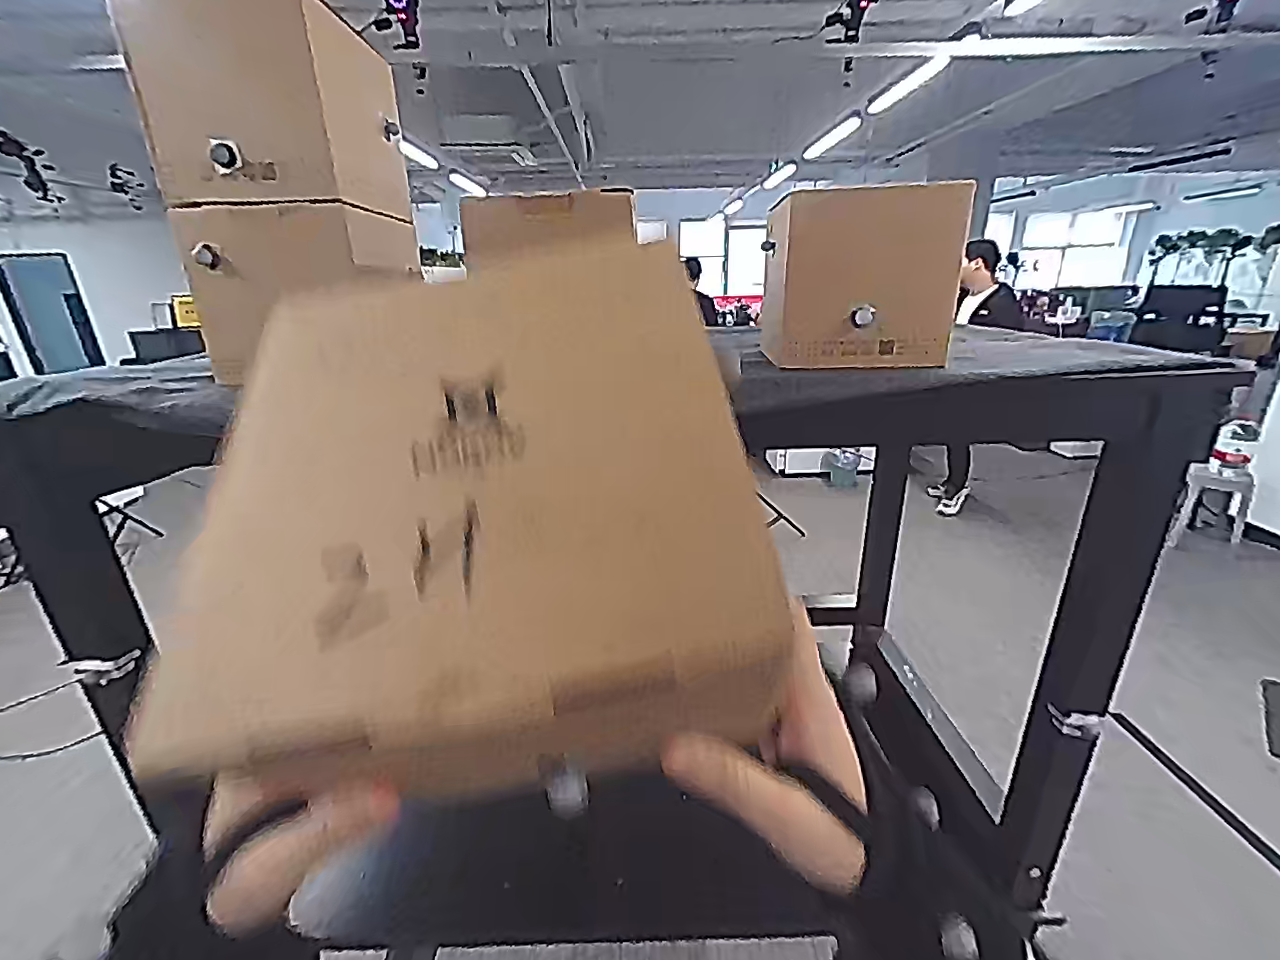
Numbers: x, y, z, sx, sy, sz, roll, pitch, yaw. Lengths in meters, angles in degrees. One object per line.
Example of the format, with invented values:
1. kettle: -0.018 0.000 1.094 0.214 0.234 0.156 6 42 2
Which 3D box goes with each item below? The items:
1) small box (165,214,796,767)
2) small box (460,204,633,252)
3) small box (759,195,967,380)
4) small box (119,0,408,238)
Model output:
1. small box: -0.044 0.016 0.248 0.168 0.176 0.179 -11 57 1
2. small box: -0.086 -0.203 0.609 0.168 0.176 0.179 -1 18 0
3. small box: 0.228 -0.210 0.604 0.168 0.176 0.179 0 20 6
4. small box: -0.357 -0.349 0.557 0.168 0.176 0.179 -3 19 0
